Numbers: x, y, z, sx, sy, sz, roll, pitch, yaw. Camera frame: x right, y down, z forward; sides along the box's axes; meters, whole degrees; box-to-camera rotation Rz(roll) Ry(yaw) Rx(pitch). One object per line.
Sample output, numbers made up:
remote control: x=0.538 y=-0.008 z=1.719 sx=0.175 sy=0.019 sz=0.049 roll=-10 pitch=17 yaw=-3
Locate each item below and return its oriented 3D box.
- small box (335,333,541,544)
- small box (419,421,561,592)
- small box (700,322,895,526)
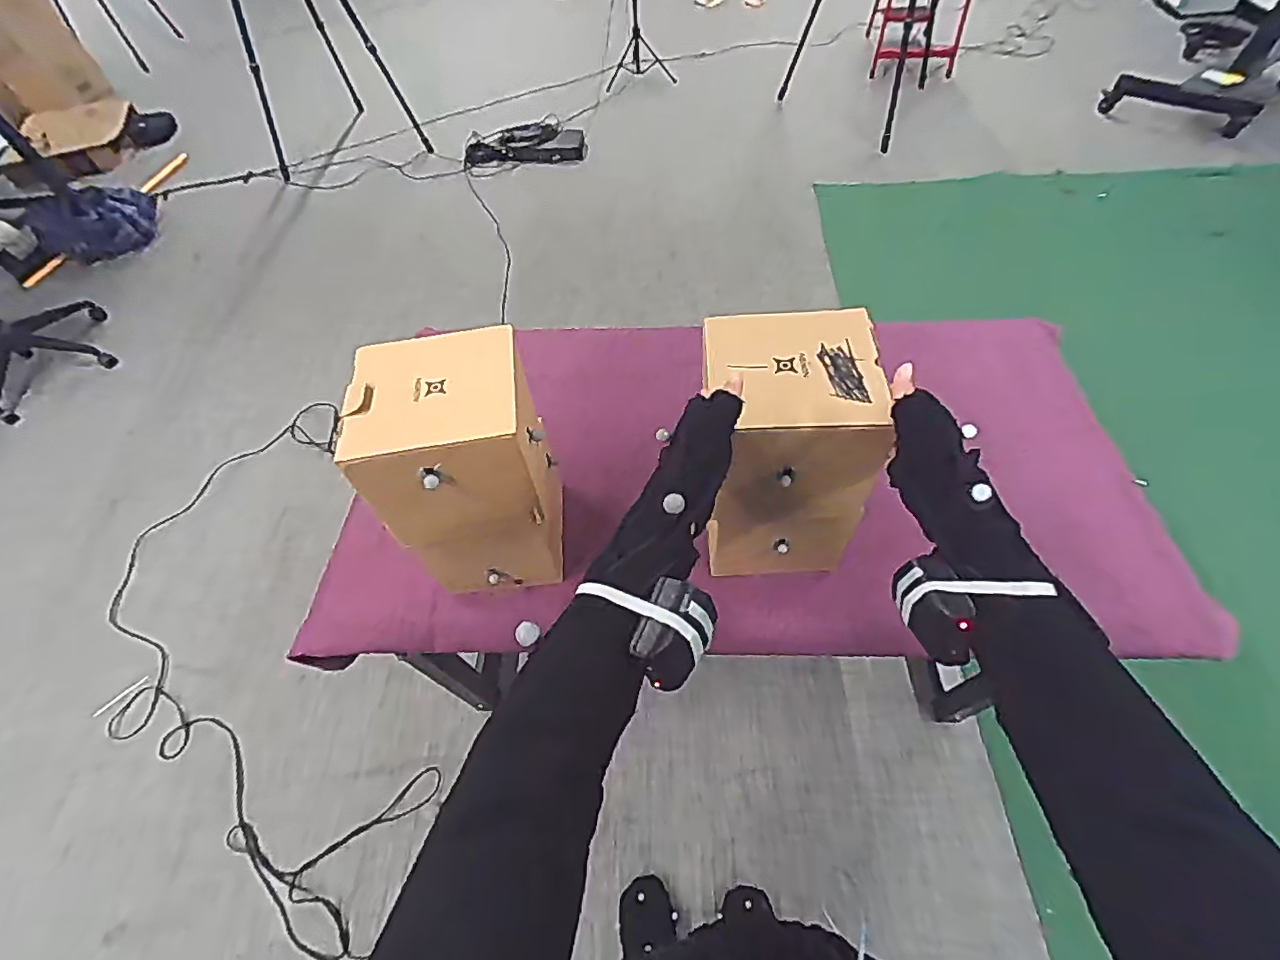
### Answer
small box: x=-0.212 y=-0.043 z=0.624 sx=0.179 sy=0.176 sz=0.168 roll=-8 pitch=54 yaw=-4
small box: x=-0.207 y=0.040 z=0.764 sx=0.168 sy=0.176 sz=0.179 roll=-5 pitch=55 yaw=-1
small box: x=0.158 y=-0.058 z=0.613 sx=0.179 sy=0.176 sz=0.168 roll=-1 pitch=55 yaw=5
